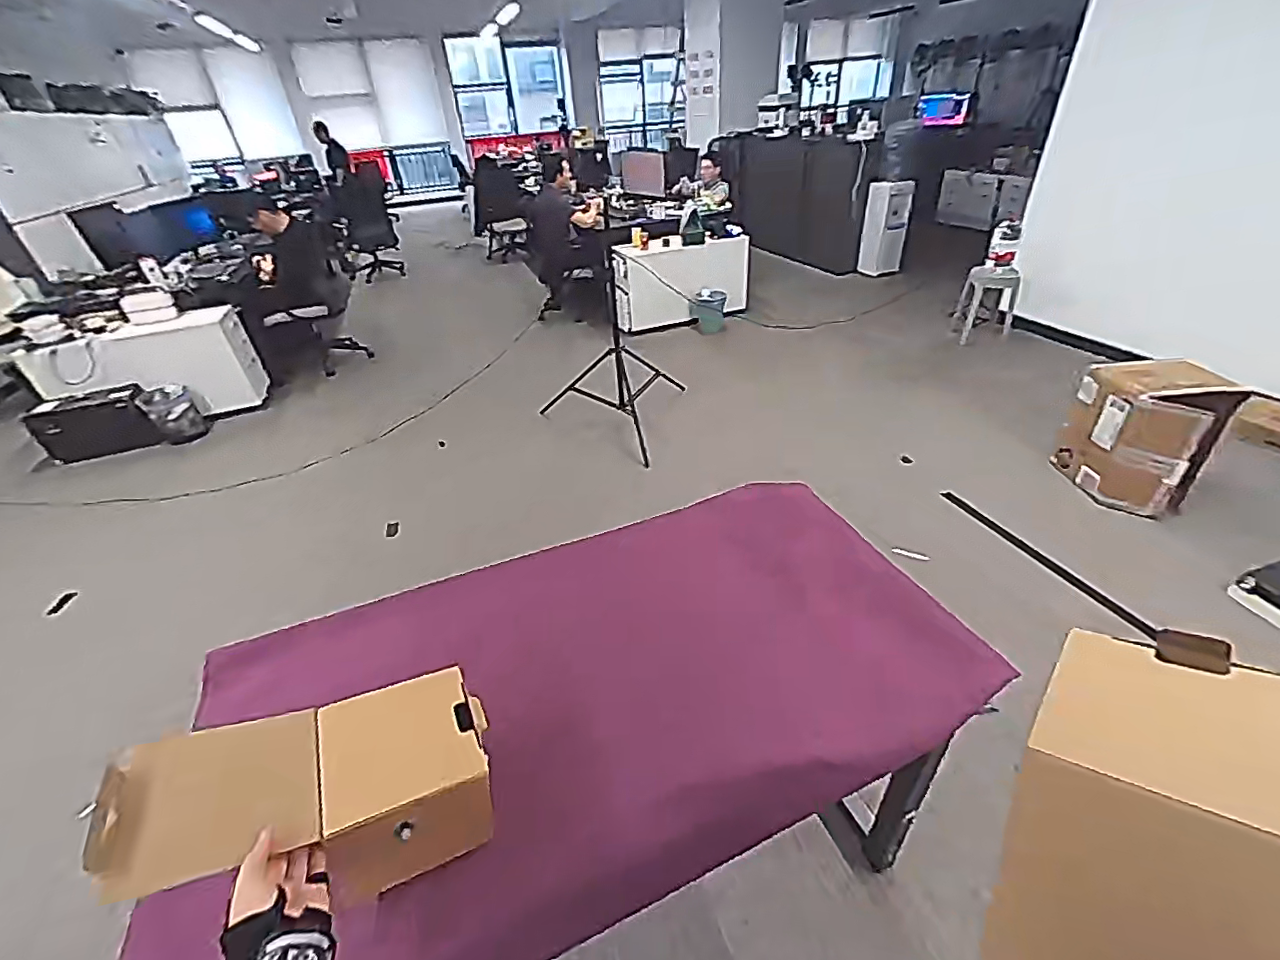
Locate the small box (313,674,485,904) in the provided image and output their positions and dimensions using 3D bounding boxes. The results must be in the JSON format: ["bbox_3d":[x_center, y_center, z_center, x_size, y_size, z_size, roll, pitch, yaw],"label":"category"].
[{"bbox_3d":[-0.300,0.386,0.686,0.179,0.176,0.168,-7,37,-27],"label":"small box"}]
